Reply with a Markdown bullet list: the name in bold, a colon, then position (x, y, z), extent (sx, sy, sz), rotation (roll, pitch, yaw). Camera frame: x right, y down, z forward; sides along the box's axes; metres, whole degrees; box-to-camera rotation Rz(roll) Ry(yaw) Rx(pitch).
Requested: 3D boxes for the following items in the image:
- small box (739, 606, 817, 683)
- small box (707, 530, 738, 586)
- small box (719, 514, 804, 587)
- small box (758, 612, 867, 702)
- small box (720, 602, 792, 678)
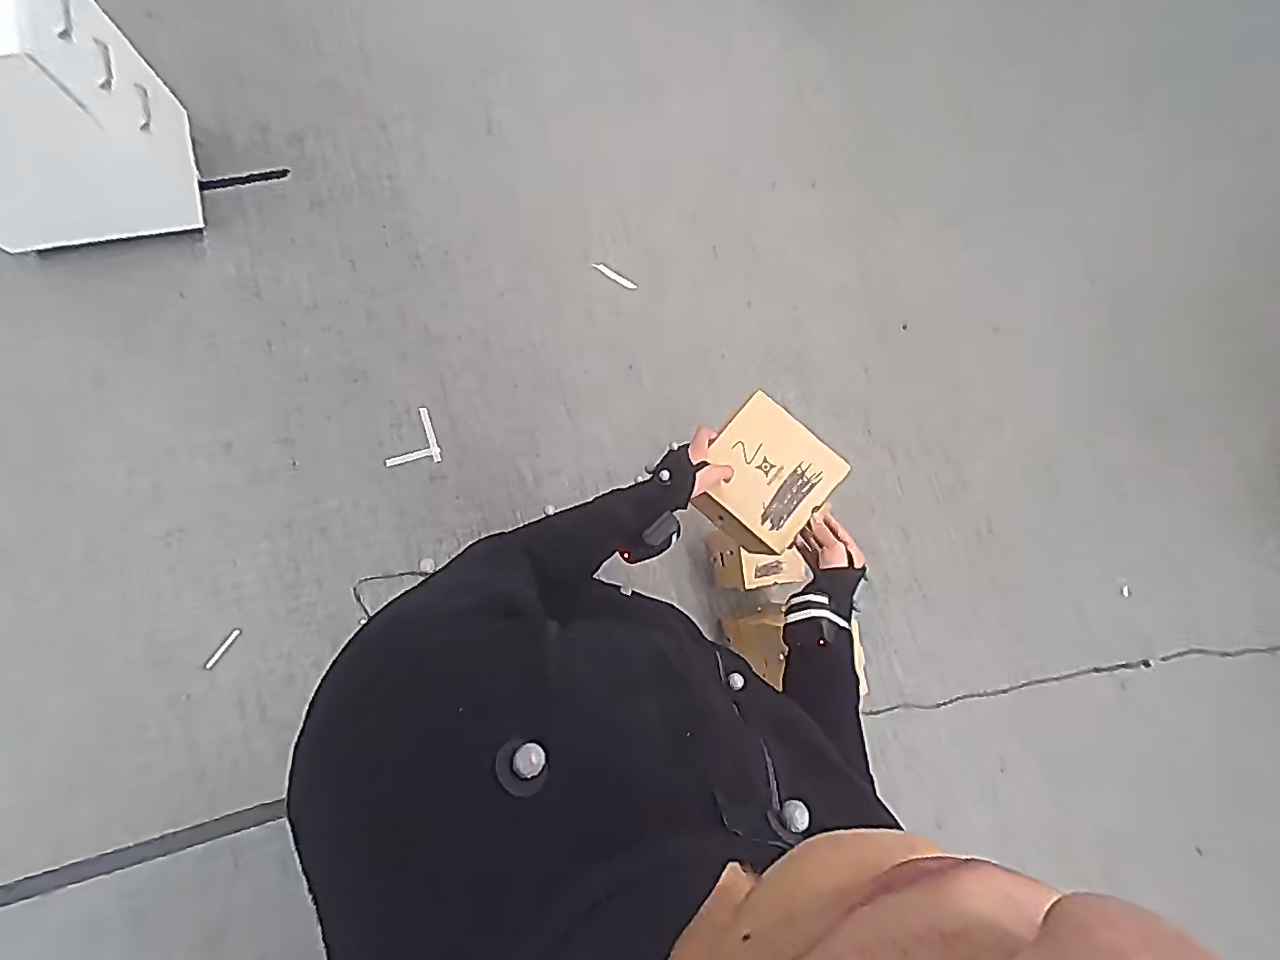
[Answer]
- **small box**: position (0.379, 0.436, 1.434), extent (0.168, 0.176, 0.179), rotation (-12, 82, -10)
- **small box**: position (0.316, 0.221, 1.623), extent (0.179, 0.176, 0.168), rotation (-9, 81, -9)
- **small box**: position (0.322, 0.192, 1.461), extent (0.168, 0.176, 0.179), rotation (-5, 80, -9)
- **small box**: position (0.399, 0.408, 1.273), extent (0.179, 0.176, 0.168), rotation (-5, 81, -10)
- **small box**: position (0.358, 0.462, 1.592), extent (0.179, 0.176, 0.168), rotation (-14, 82, -10)
